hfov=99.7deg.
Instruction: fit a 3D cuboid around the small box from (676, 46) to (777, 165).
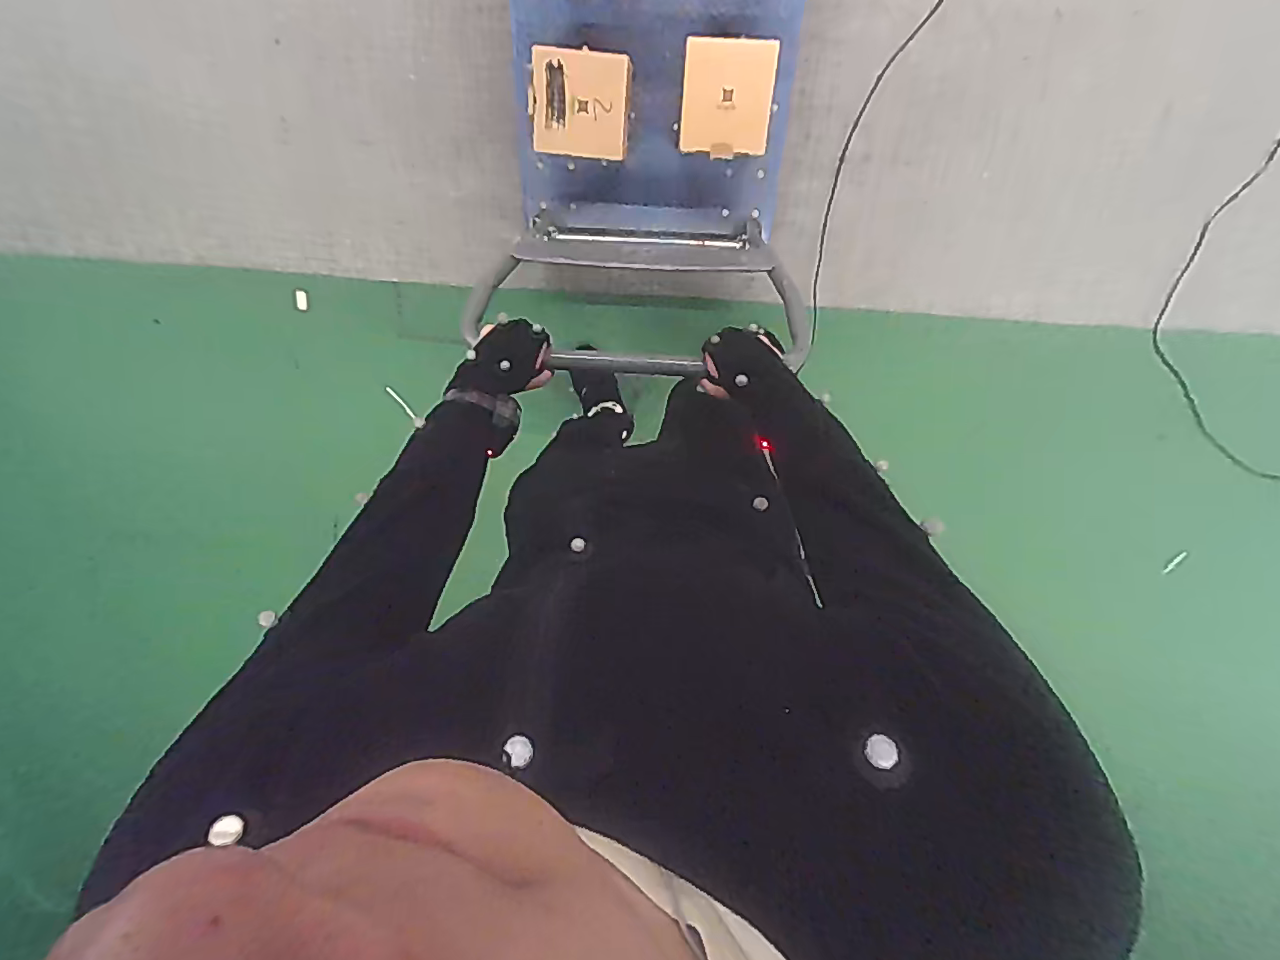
[{"bbox_3d":[0.161,-0.732,1.071,0.168,0.176,0.179,4,122,0],"label":"small box"}]
